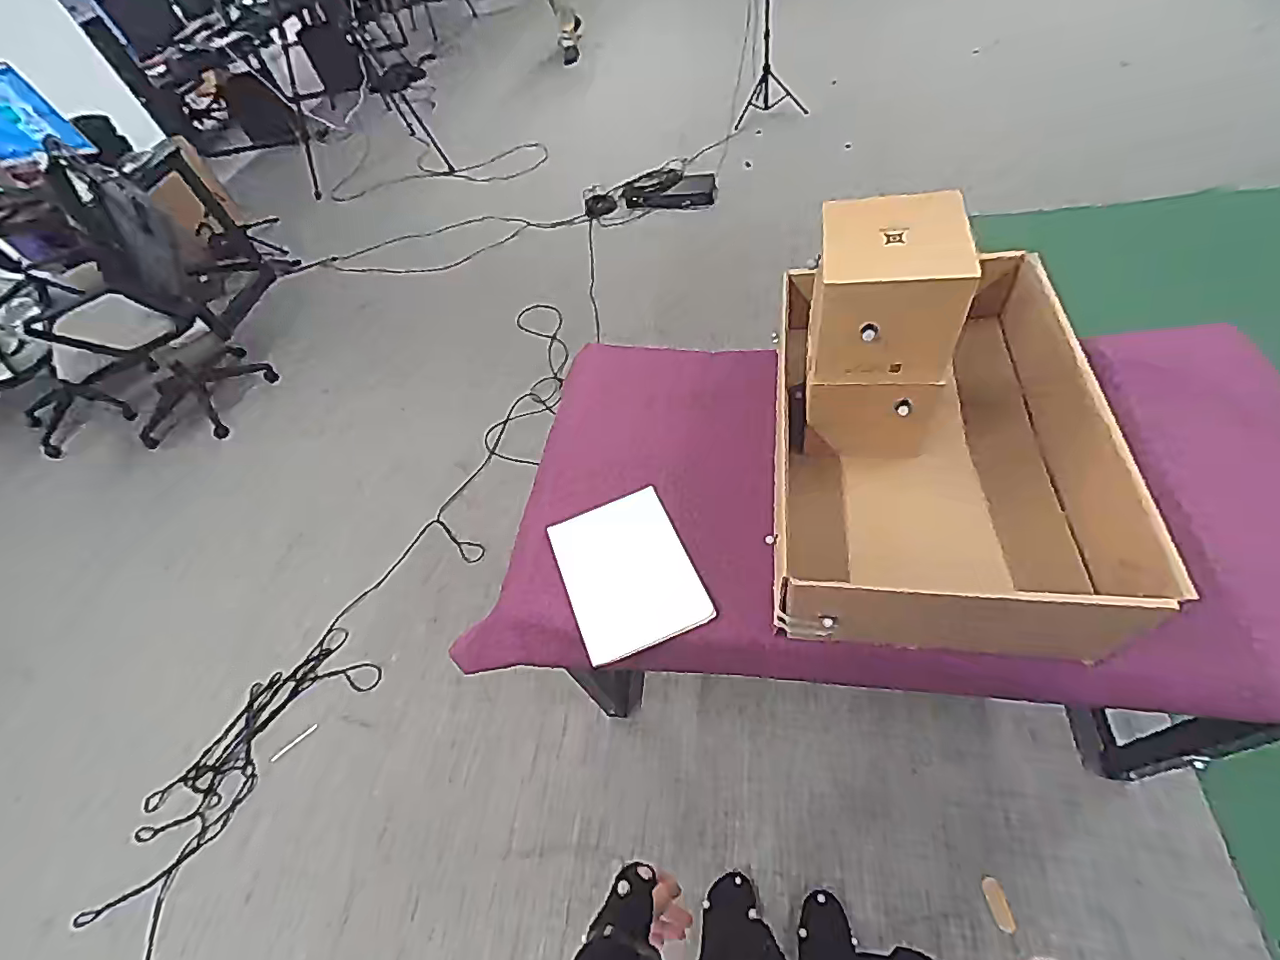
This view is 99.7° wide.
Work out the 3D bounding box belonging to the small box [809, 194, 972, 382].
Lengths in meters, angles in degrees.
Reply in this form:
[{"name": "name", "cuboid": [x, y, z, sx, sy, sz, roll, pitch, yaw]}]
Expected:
[{"name": "small box", "cuboid": [0.316, -0.245, 0.719, 0.168, 0.176, 0.179, 2, 55, 15]}]
